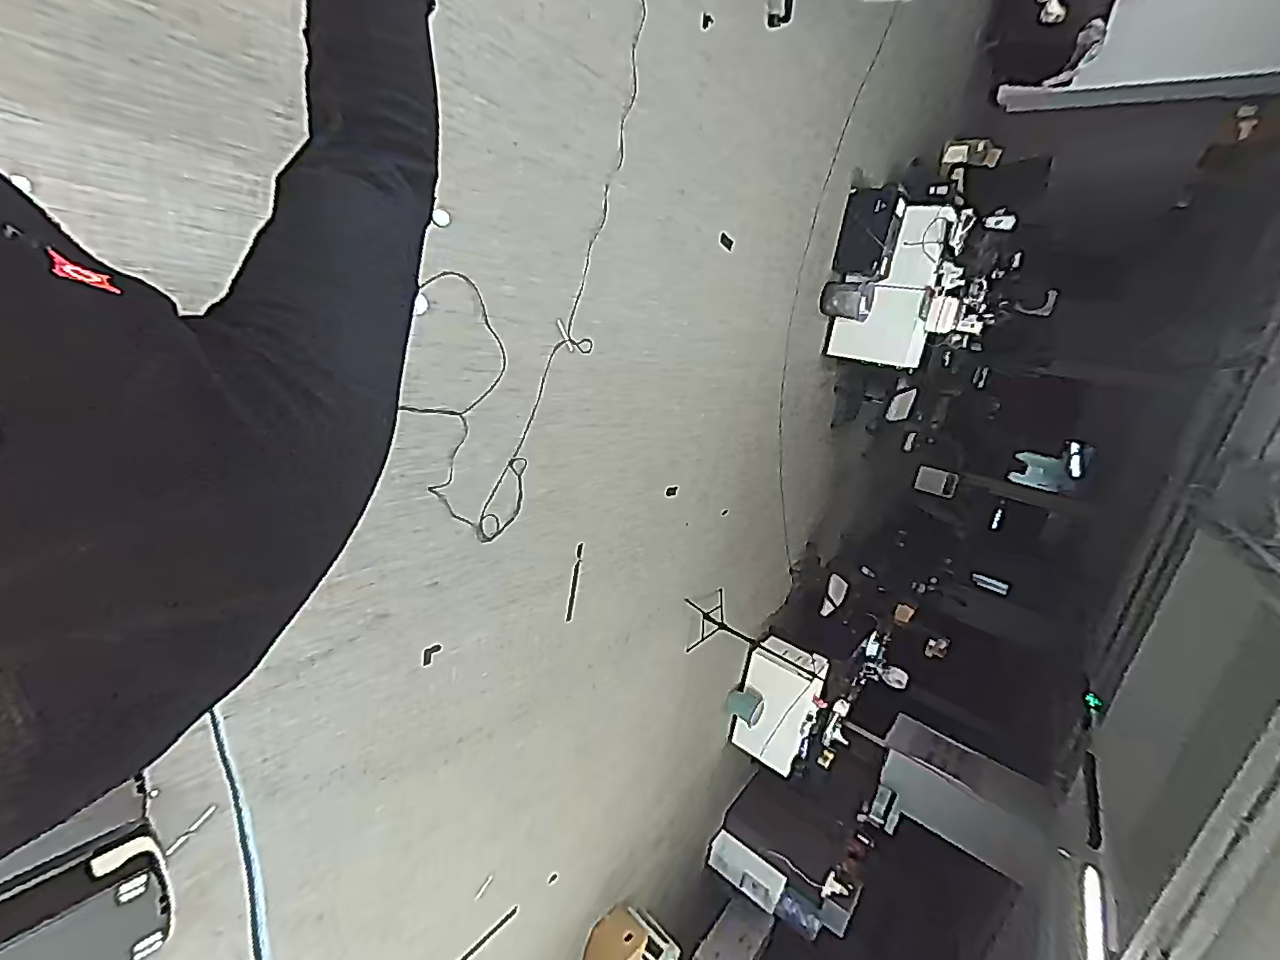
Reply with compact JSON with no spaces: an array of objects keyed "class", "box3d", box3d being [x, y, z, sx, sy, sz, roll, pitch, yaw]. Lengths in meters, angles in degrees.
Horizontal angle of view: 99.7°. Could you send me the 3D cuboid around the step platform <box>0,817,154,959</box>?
[{"class":"step platform","box3d":[-1.442,1.039,1.094,0.684,0.204,0.286,-15,119,-49]}]
